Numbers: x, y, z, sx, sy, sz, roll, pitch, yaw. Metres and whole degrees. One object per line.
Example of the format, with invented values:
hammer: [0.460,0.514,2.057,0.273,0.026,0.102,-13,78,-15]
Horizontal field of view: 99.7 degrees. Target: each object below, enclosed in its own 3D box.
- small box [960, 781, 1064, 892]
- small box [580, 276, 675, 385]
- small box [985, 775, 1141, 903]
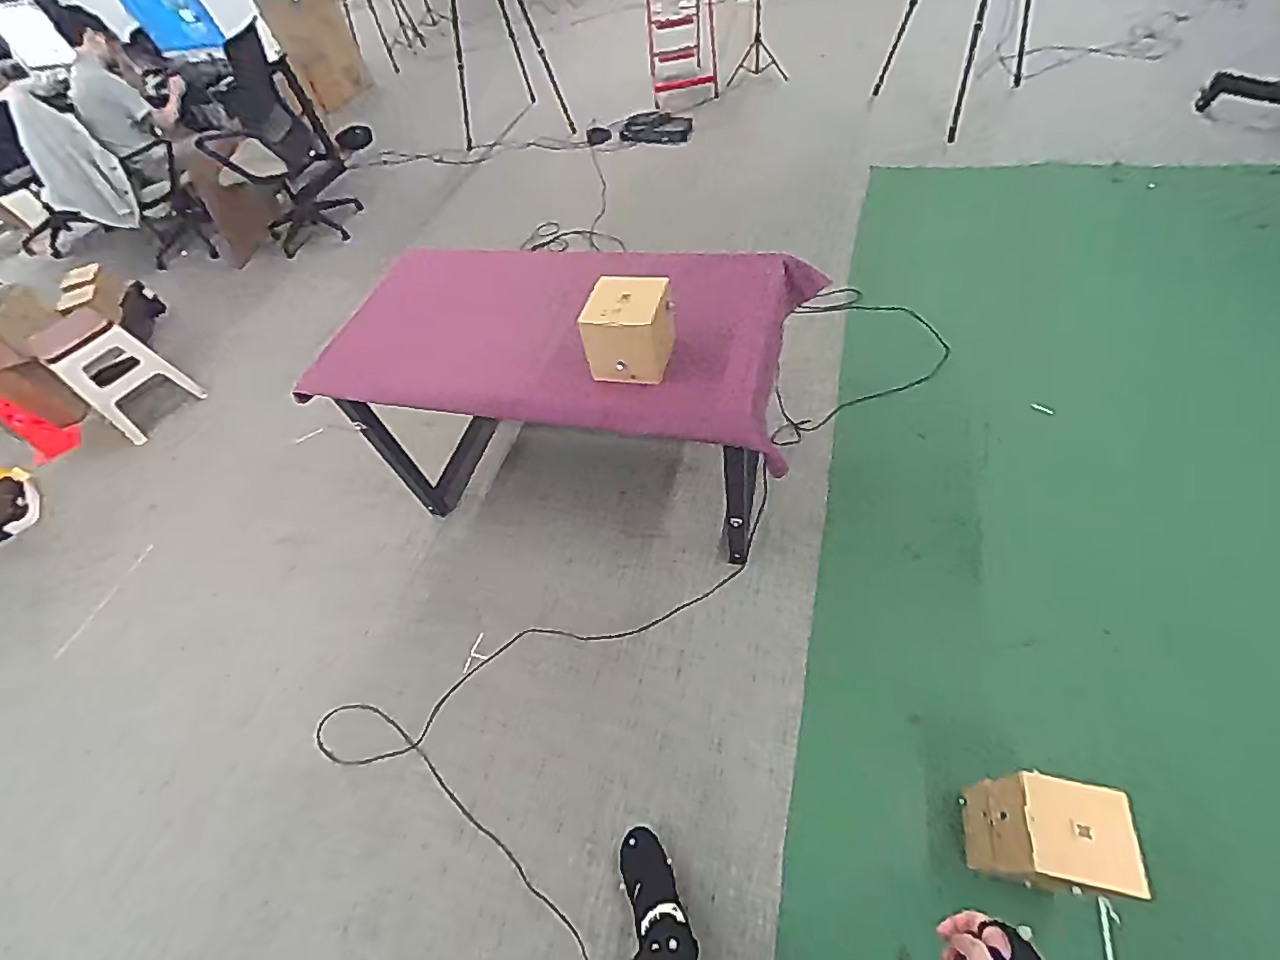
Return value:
small box: [0.821,0.784,1.185,0.179,0.176,0.168,8,56,14]
small box: [-0.019,-0.346,1.249,0.168,0.176,0.179,8,55,16]
small box: [0.805,0.693,1.051,0.179,0.176,0.168,6,56,15]
